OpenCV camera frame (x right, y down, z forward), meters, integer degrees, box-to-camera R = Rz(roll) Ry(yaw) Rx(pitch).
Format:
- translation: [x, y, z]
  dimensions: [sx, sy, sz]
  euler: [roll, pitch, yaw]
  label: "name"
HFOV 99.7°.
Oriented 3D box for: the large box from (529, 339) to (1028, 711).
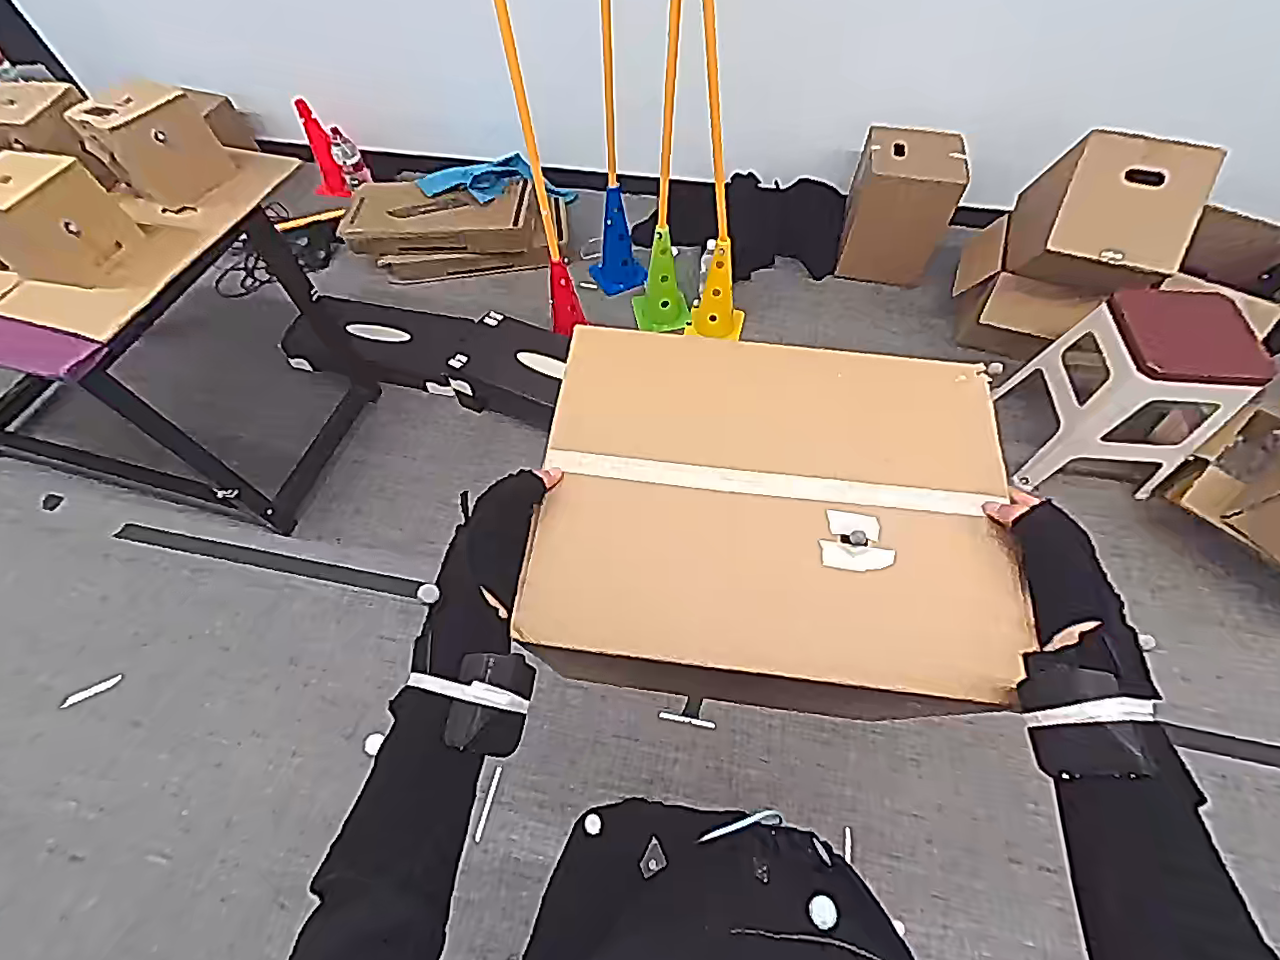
- translation: [0.118, 0.073, 0.621]
  dimensions: [0.408, 0.320, 0.320]
  euler: [7, 66, 2]
  label: "large box"
